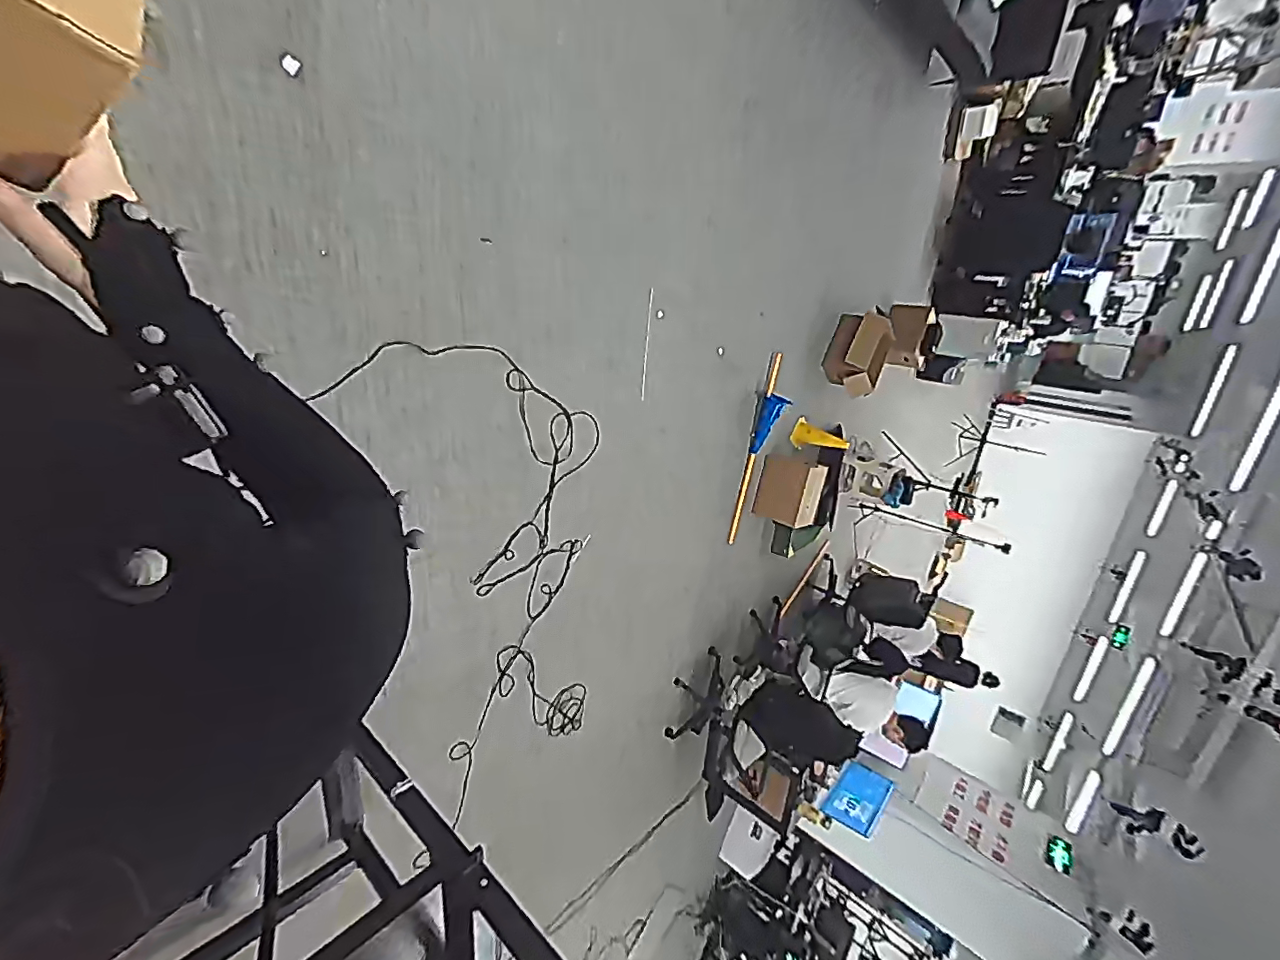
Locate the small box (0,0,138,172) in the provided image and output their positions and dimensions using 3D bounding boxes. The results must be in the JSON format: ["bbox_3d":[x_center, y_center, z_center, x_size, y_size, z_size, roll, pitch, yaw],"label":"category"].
[{"bbox_3d":[-0.399,-0.314,0.284,0.168,0.176,0.179,12,70,-59],"label":"small box"}]
